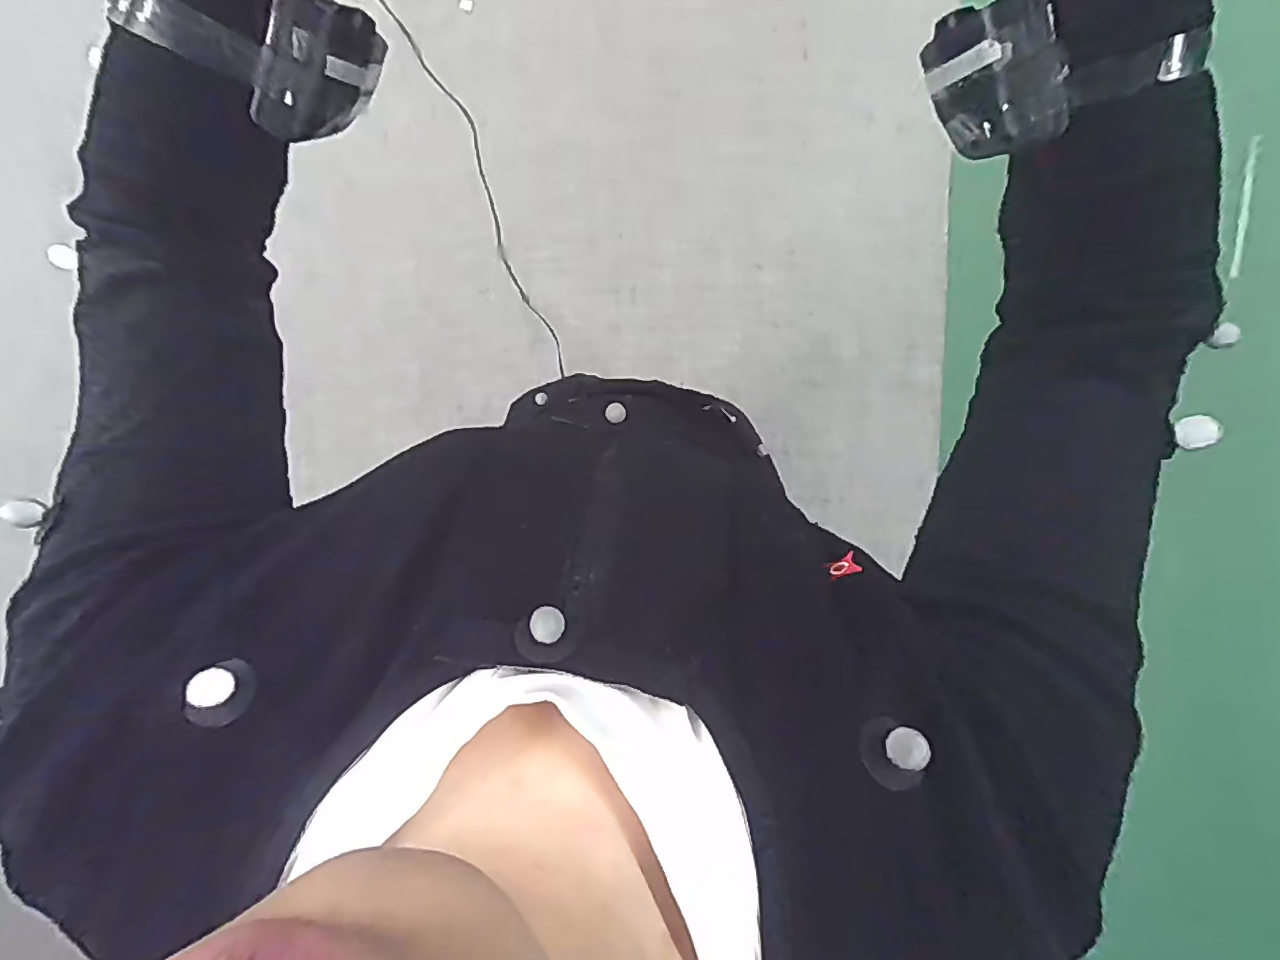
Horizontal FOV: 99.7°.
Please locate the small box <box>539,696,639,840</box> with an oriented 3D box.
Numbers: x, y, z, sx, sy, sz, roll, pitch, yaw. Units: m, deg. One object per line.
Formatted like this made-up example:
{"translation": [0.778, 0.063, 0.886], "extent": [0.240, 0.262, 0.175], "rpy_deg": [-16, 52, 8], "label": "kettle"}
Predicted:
{"translation": [-0.095, 0.545, 1.043], "extent": [0.168, 0.176, 0.179], "rpy_deg": [5, 101, 7], "label": "small box"}
